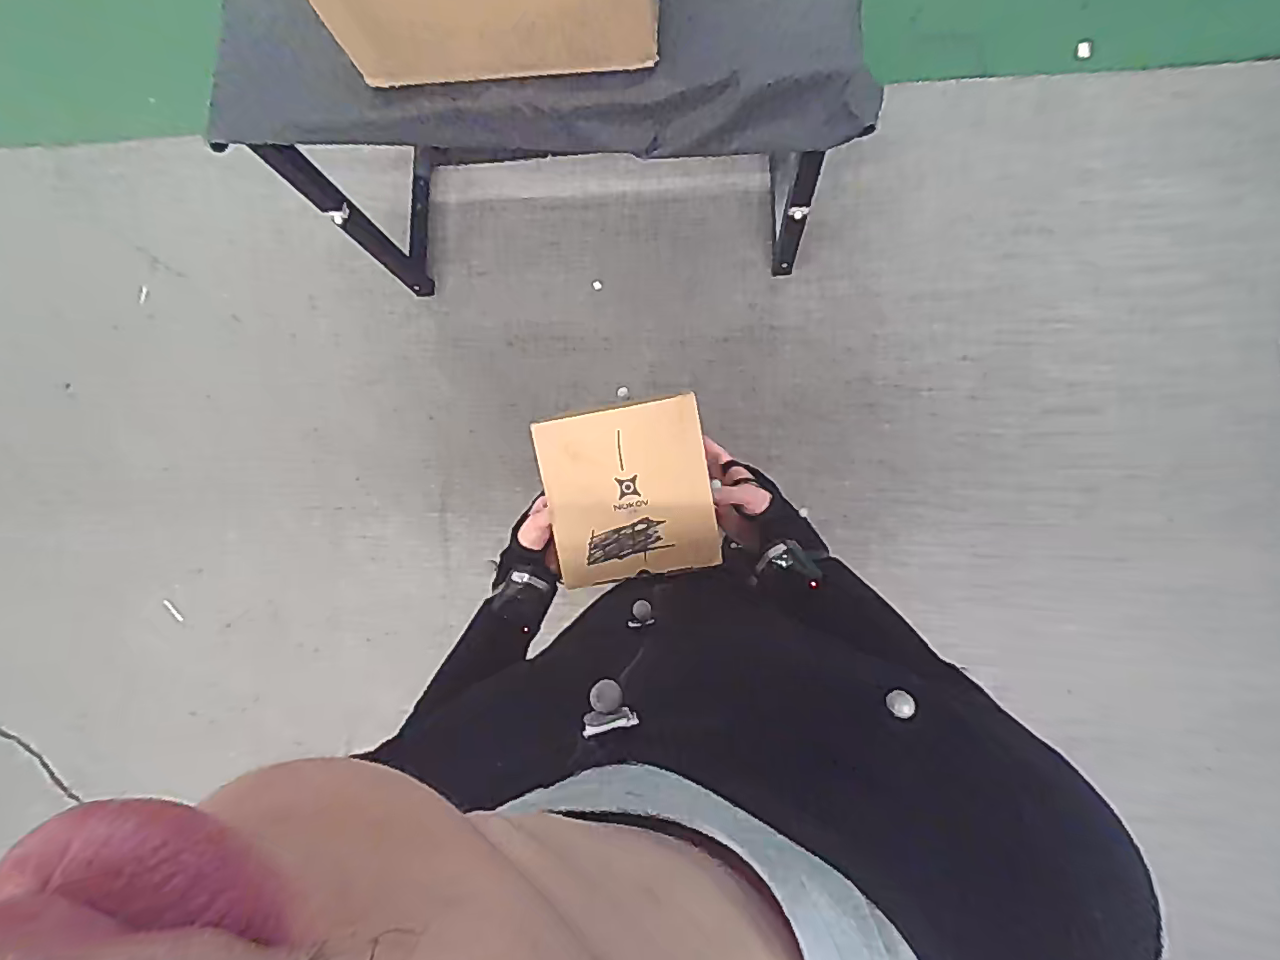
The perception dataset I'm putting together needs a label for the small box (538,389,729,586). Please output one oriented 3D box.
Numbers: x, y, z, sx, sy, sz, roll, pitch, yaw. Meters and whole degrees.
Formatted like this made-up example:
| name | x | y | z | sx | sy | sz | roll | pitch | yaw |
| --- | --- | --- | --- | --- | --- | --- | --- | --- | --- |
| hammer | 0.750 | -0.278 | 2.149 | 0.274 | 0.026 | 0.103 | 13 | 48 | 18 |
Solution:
| name | x | y | z | sx | sy | sz | roll | pitch | yaw |
| --- | --- | --- | --- | --- | --- | --- | --- | --- | --- |
| small box | -0.001 | -0.002 | 0.611 | 0.168 | 0.176 | 0.179 | -11 | 99 | 4 |
